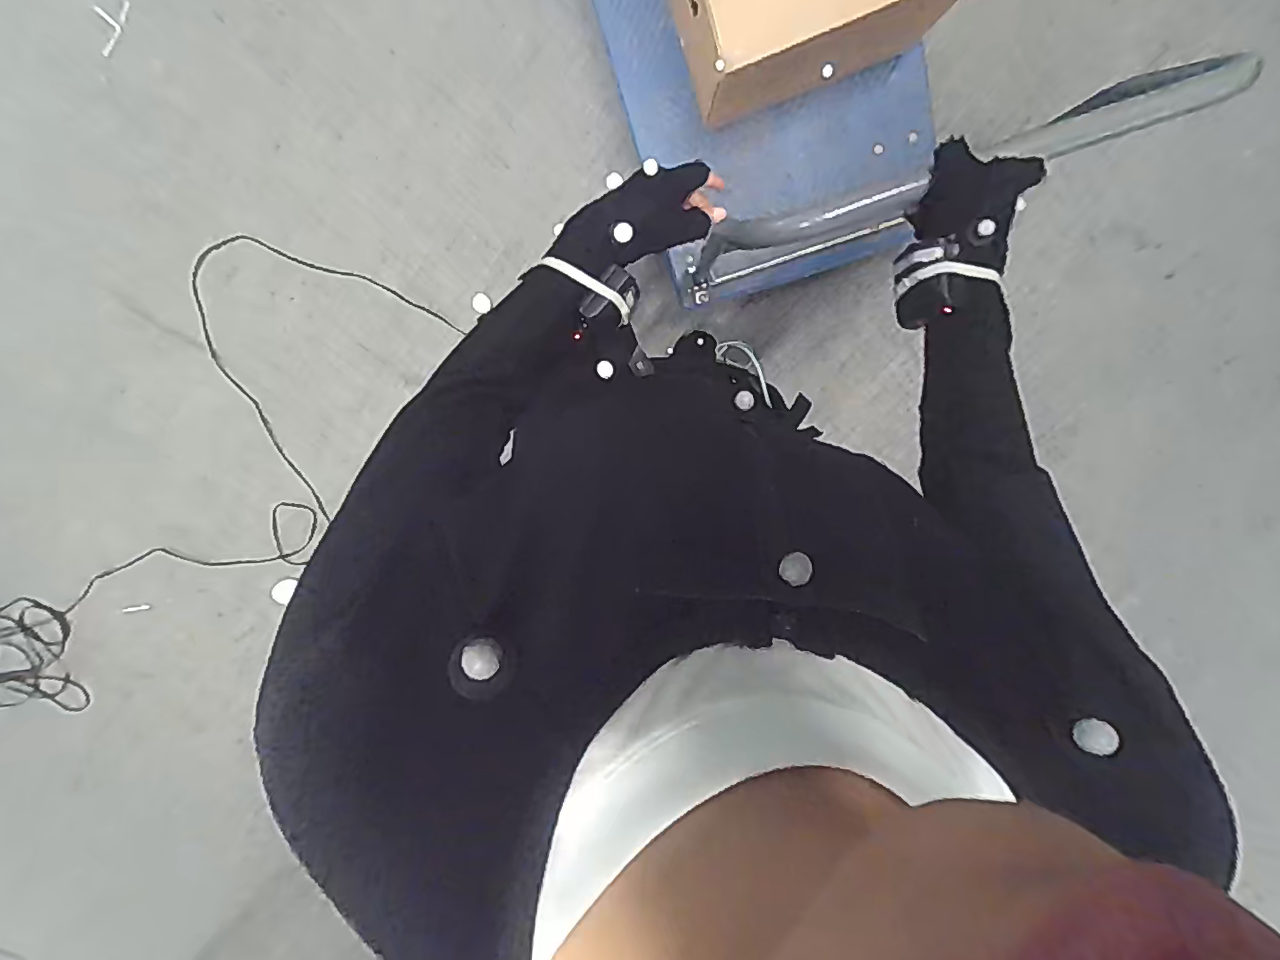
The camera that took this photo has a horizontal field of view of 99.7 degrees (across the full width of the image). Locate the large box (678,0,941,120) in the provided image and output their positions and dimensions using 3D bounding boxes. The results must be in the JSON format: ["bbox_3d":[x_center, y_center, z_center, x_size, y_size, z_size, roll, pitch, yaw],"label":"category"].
[{"bbox_3d":[0.271,-0.868,0.879,0.408,0.320,0.320,-18,107,9],"label":"large box"}]
